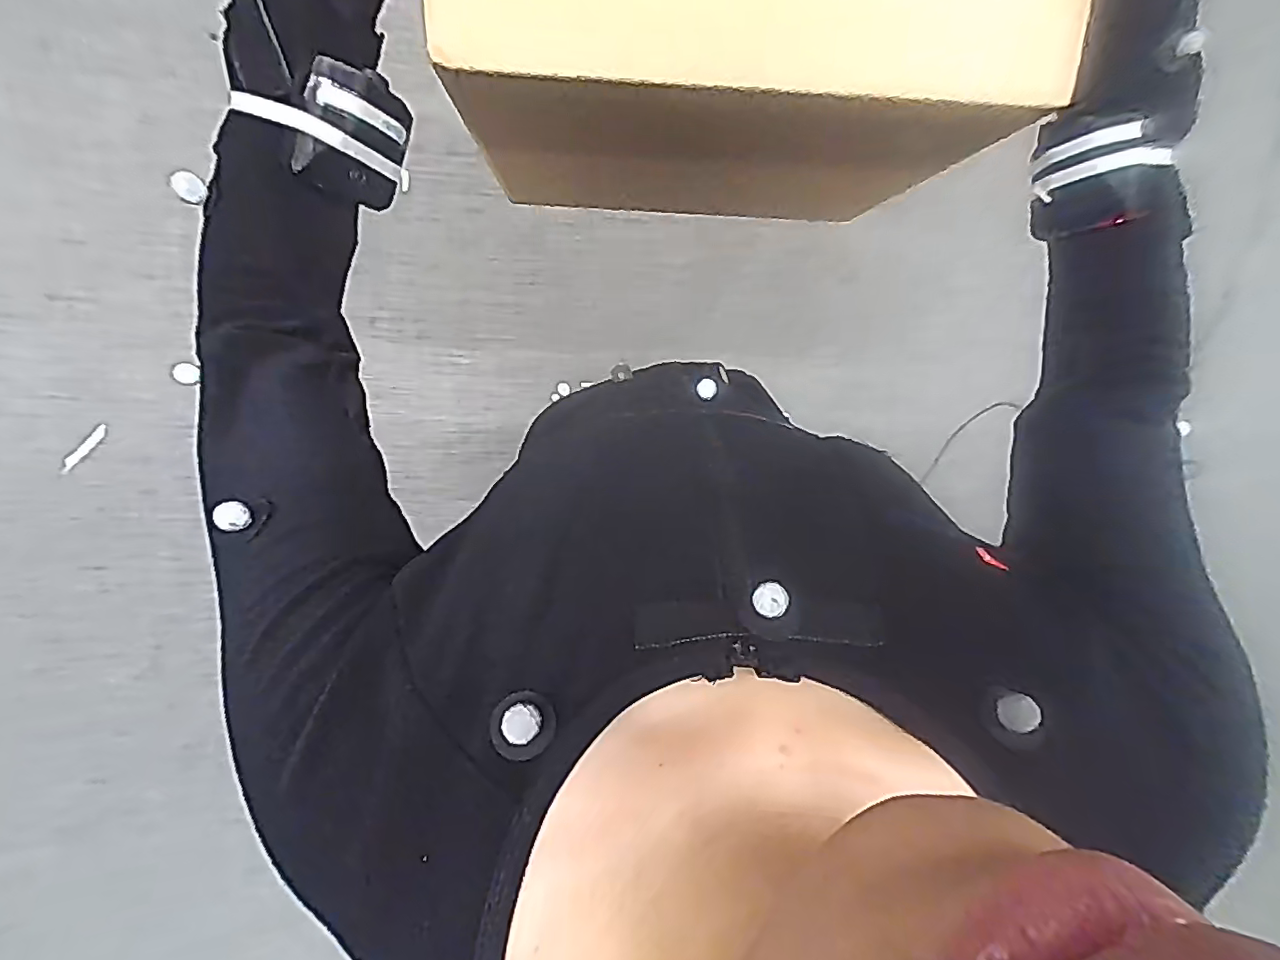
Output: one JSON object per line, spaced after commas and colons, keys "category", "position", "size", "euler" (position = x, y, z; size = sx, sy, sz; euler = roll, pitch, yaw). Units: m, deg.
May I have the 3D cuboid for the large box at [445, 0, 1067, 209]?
{"category": "large box", "position": [0.066, -0.436, 0.457], "size": [0.408, 0.320, 0.320], "euler": [-1, 104, -5]}
